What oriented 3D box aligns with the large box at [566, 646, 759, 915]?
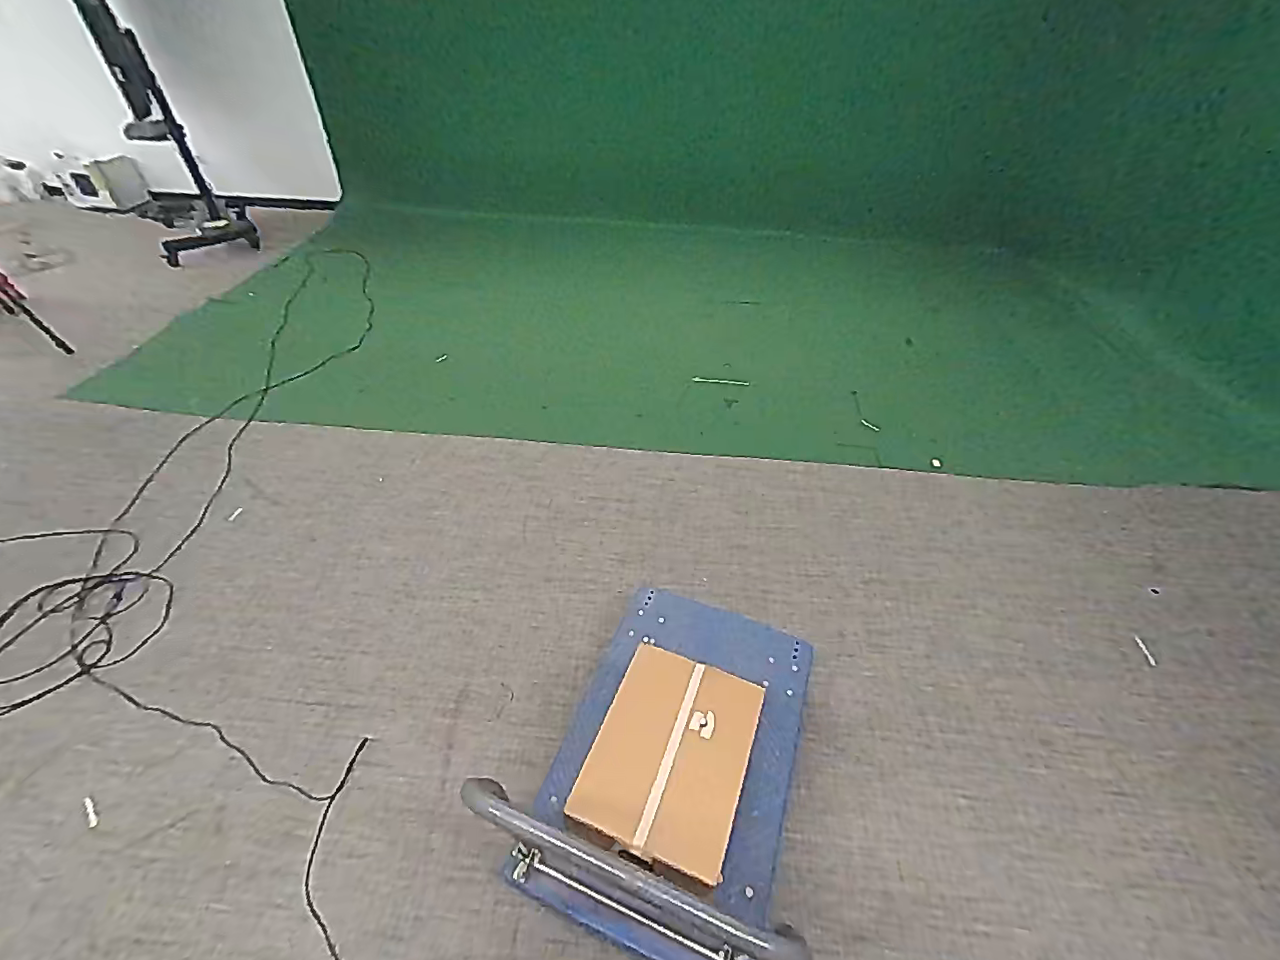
[{"bbox_3d":[0.060,0.680,1.252,0.320,0.320,0.408,17,43,15],"label":"large box"}]
